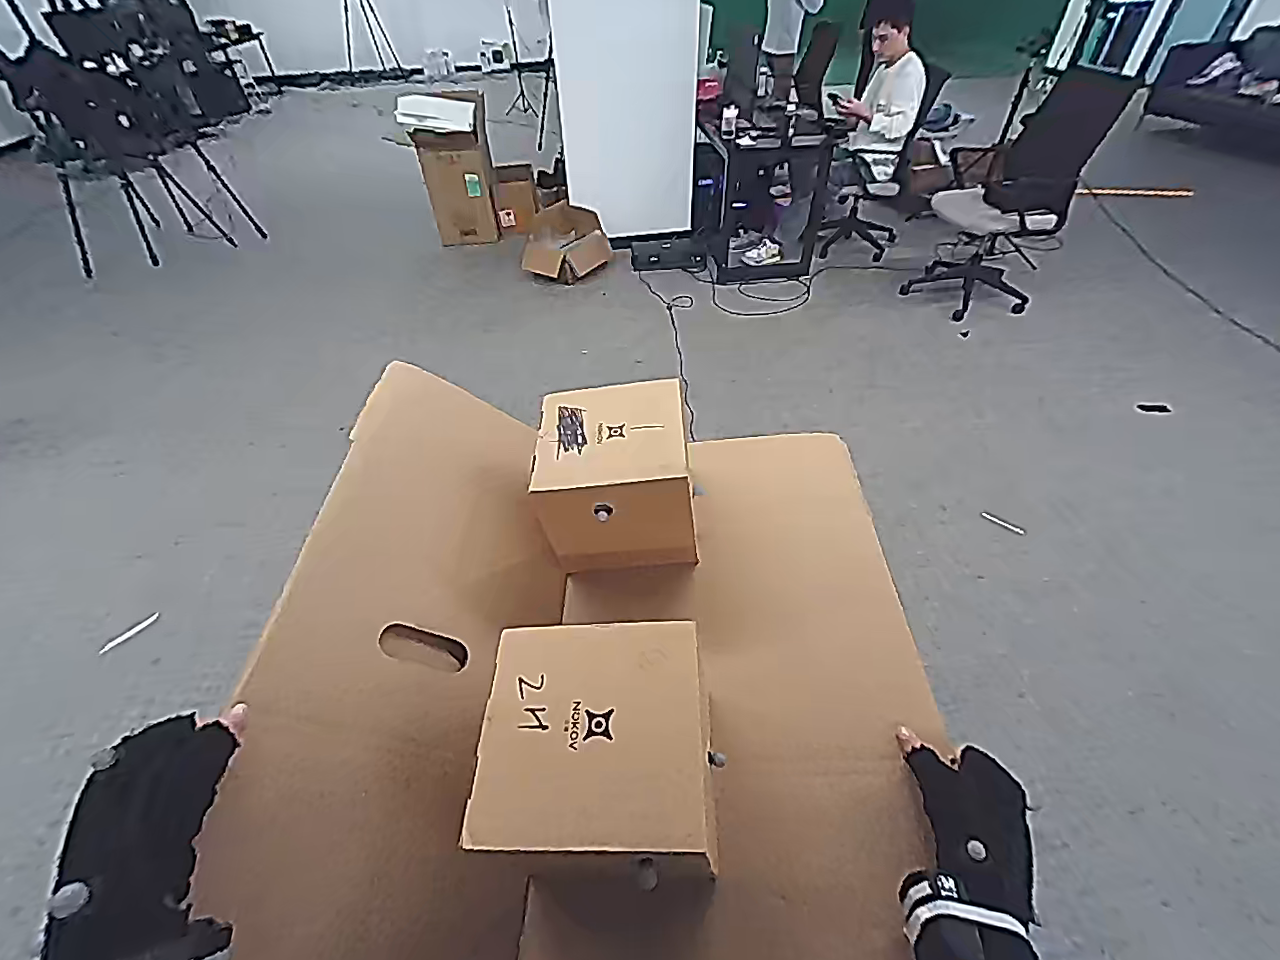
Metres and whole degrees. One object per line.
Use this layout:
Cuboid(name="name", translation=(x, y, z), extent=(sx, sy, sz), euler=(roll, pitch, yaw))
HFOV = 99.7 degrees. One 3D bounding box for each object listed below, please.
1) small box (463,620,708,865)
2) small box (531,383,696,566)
Cuboid(name="small box", translation=(-0.029, 0.240, 0.493), extent=(0.179, 0.176, 0.168), euler=(-4, 49, 8))
Cuboid(name="small box", translation=(-0.025, -0.001, 0.703), extent=(0.179, 0.176, 0.168), euler=(-5, 49, 6))
